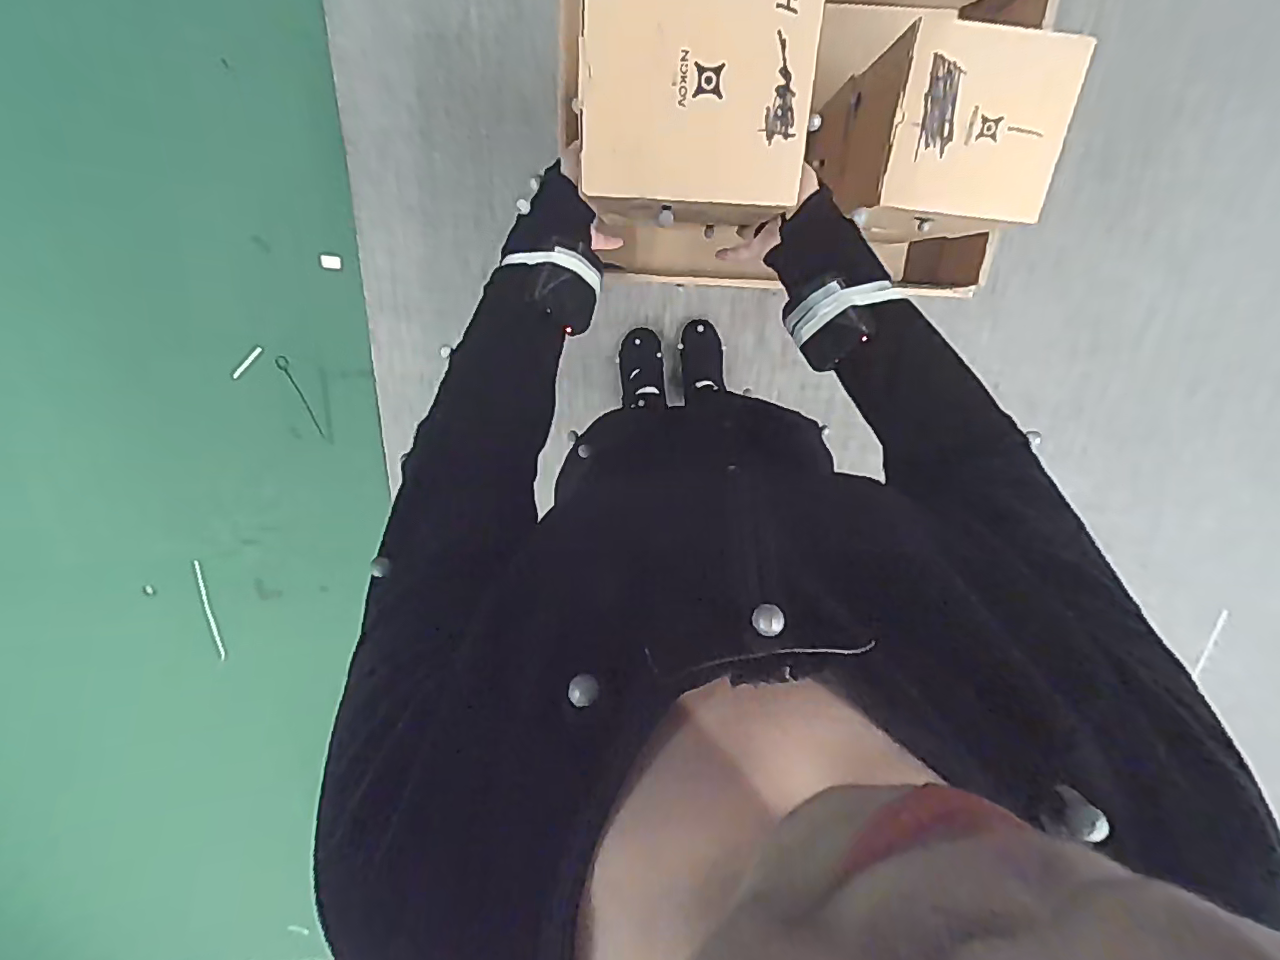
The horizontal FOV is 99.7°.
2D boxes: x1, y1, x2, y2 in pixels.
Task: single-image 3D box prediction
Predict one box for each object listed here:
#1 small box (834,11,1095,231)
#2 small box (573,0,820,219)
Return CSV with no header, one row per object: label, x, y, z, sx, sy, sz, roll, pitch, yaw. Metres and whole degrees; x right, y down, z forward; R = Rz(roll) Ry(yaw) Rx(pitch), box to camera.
small box,0.342,-0.386,0.614,0.179,0.176,0.168,6,110,-1
small box,0.041,-0.329,0.472,0.179,0.176,0.168,3,111,0
